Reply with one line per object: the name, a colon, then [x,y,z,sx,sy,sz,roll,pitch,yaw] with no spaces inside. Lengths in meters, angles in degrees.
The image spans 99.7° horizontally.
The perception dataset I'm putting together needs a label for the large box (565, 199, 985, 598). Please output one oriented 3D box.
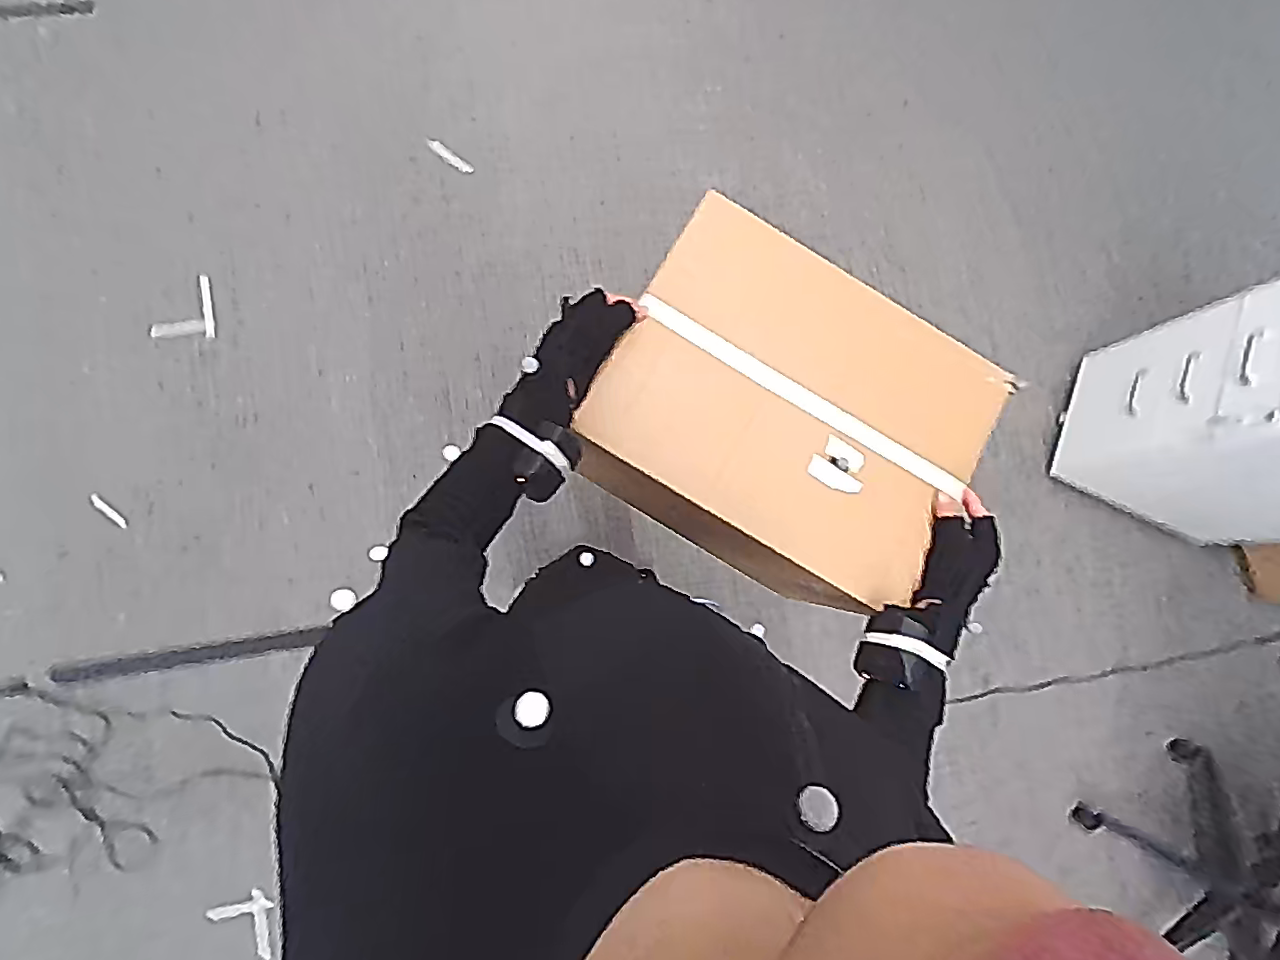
large box: [0.142,-0.079,0.742,0.408,0.320,0.320,29,82,-3]
